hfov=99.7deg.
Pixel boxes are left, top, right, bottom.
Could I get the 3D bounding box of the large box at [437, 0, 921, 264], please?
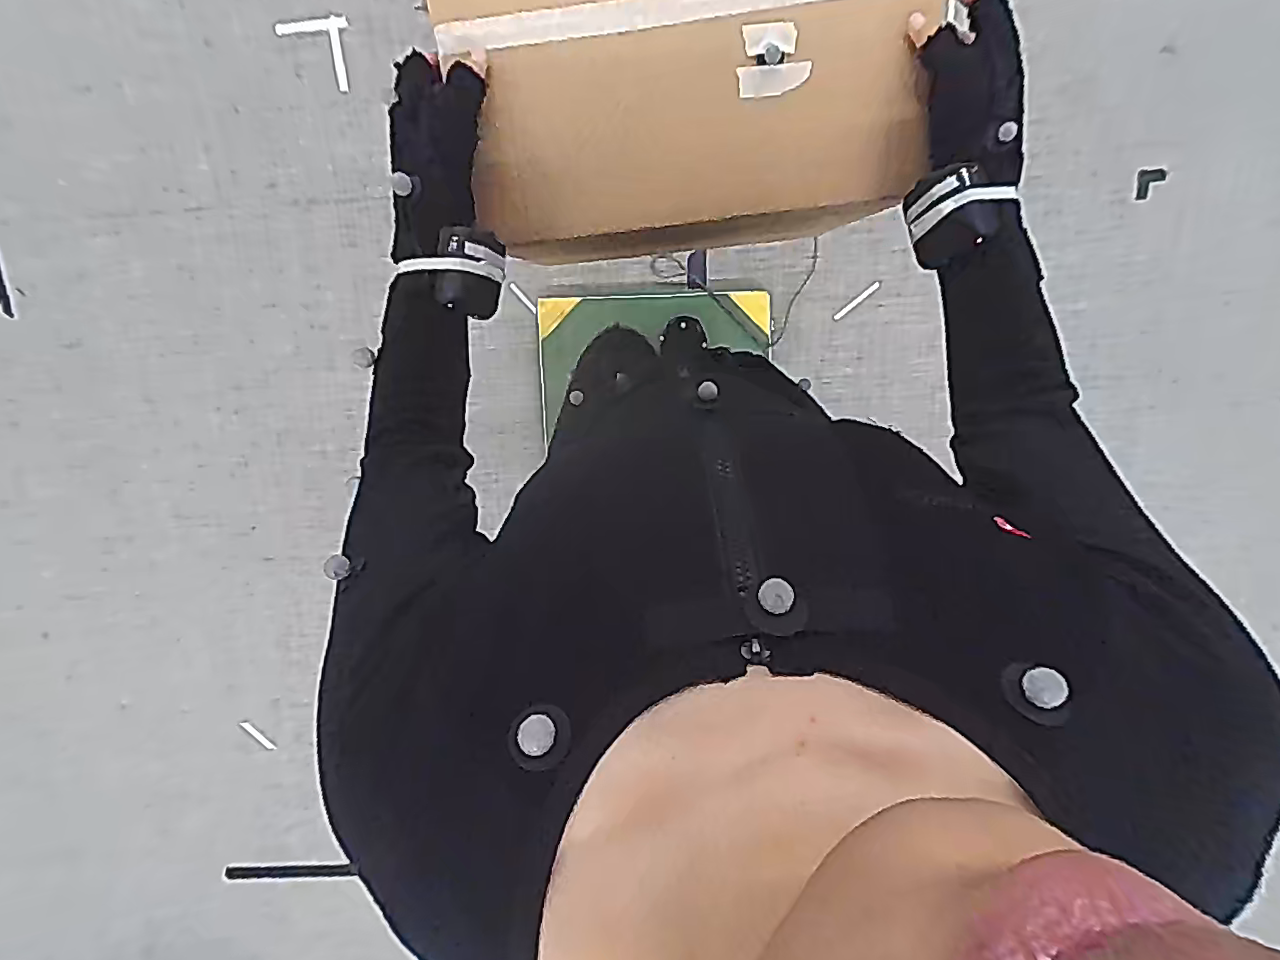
[{"bbox_3d":[0.031,-0.436,0.588,0.408,0.320,0.320,-7,108,2],"label":"large box"}]
